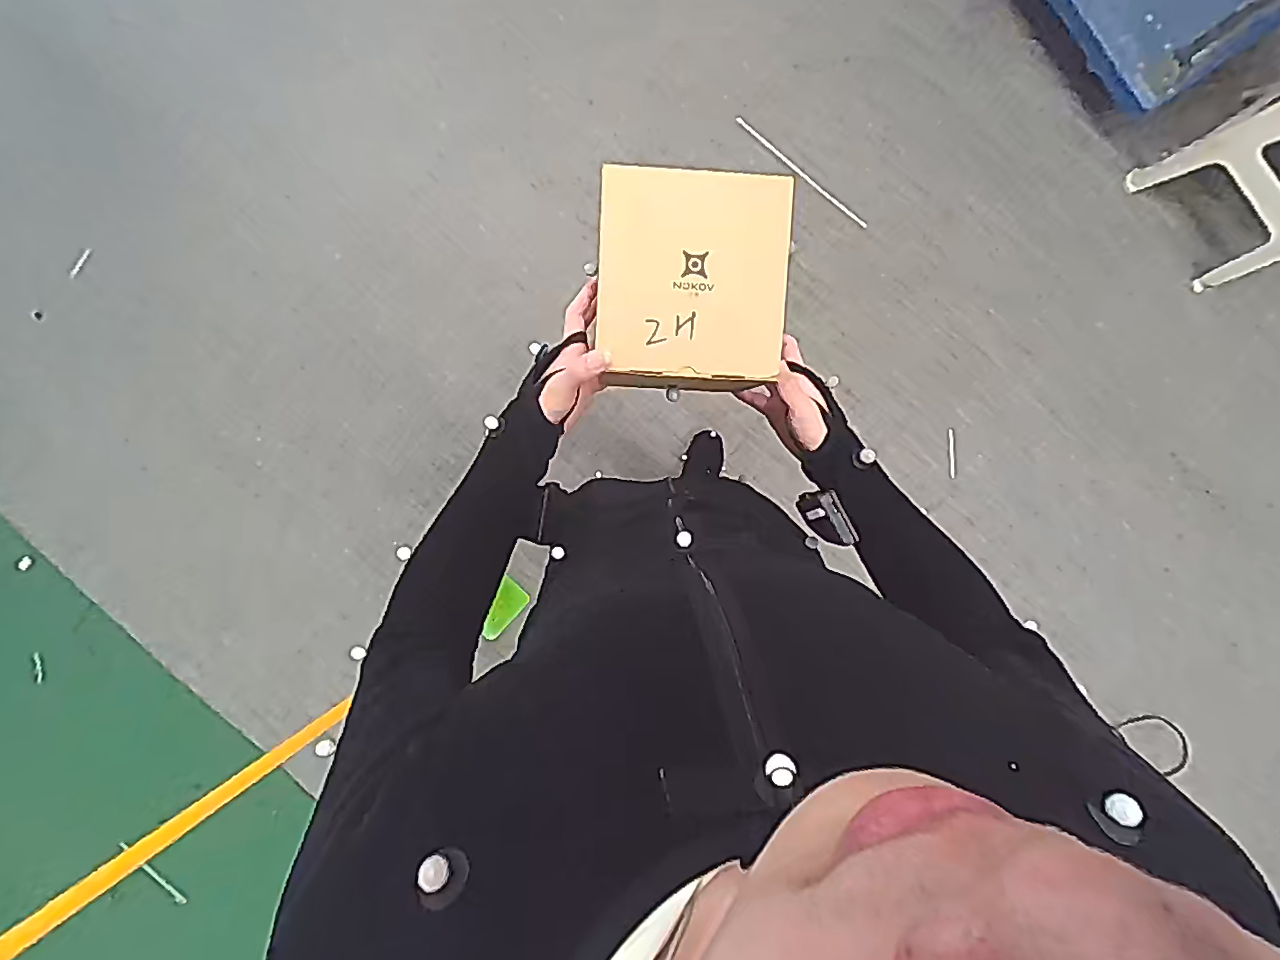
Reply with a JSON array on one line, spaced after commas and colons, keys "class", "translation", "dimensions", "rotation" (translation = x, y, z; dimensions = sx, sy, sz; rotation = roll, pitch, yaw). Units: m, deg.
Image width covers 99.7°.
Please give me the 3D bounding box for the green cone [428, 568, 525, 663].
[{"class": "green cone", "translation": [-0.496, 0.413, 1.501], "dimensions": [0.202, 0.368, 0.200], "rotation": [42, 97, 0]}]
